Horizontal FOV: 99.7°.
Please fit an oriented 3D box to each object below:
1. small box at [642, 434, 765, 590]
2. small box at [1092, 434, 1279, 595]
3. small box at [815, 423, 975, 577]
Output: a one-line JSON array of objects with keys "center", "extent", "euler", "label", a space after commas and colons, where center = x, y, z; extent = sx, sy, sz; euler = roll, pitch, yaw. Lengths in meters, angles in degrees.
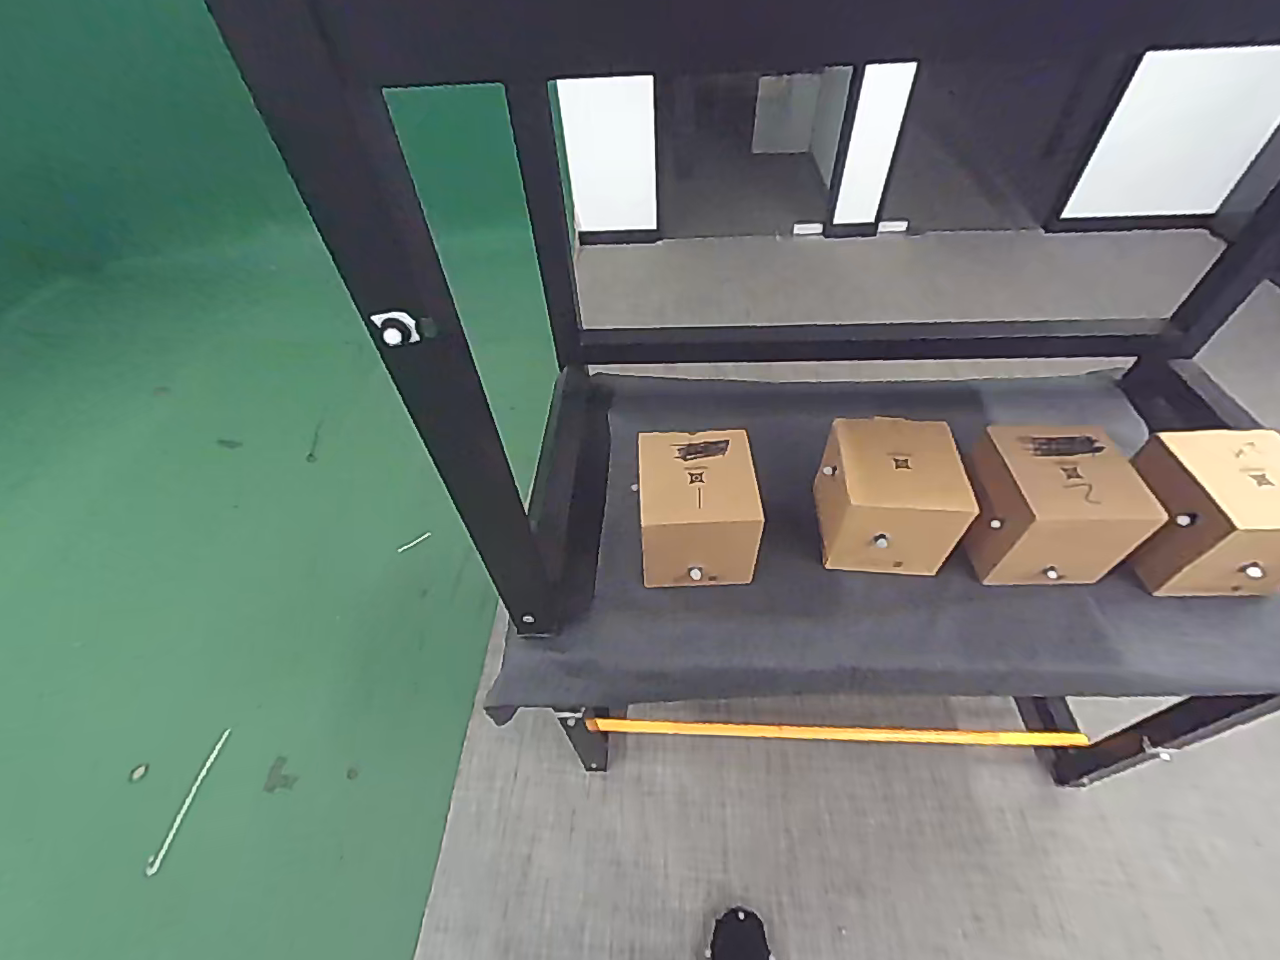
[{"center": [0.086, 0.051, 0.830], "extent": [0.168, 0.176, 0.179], "euler": [-3, 50, 1], "label": "small box"}, {"center": [0.819, 0.054, 0.779], "extent": [0.168, 0.176, 0.179], "euler": [-1, 48, 2], "label": "small box"}, {"center": [0.375, 0.033, 0.831], "extent": [0.168, 0.176, 0.179], "euler": [3, 49, 6], "label": "small box"}]
